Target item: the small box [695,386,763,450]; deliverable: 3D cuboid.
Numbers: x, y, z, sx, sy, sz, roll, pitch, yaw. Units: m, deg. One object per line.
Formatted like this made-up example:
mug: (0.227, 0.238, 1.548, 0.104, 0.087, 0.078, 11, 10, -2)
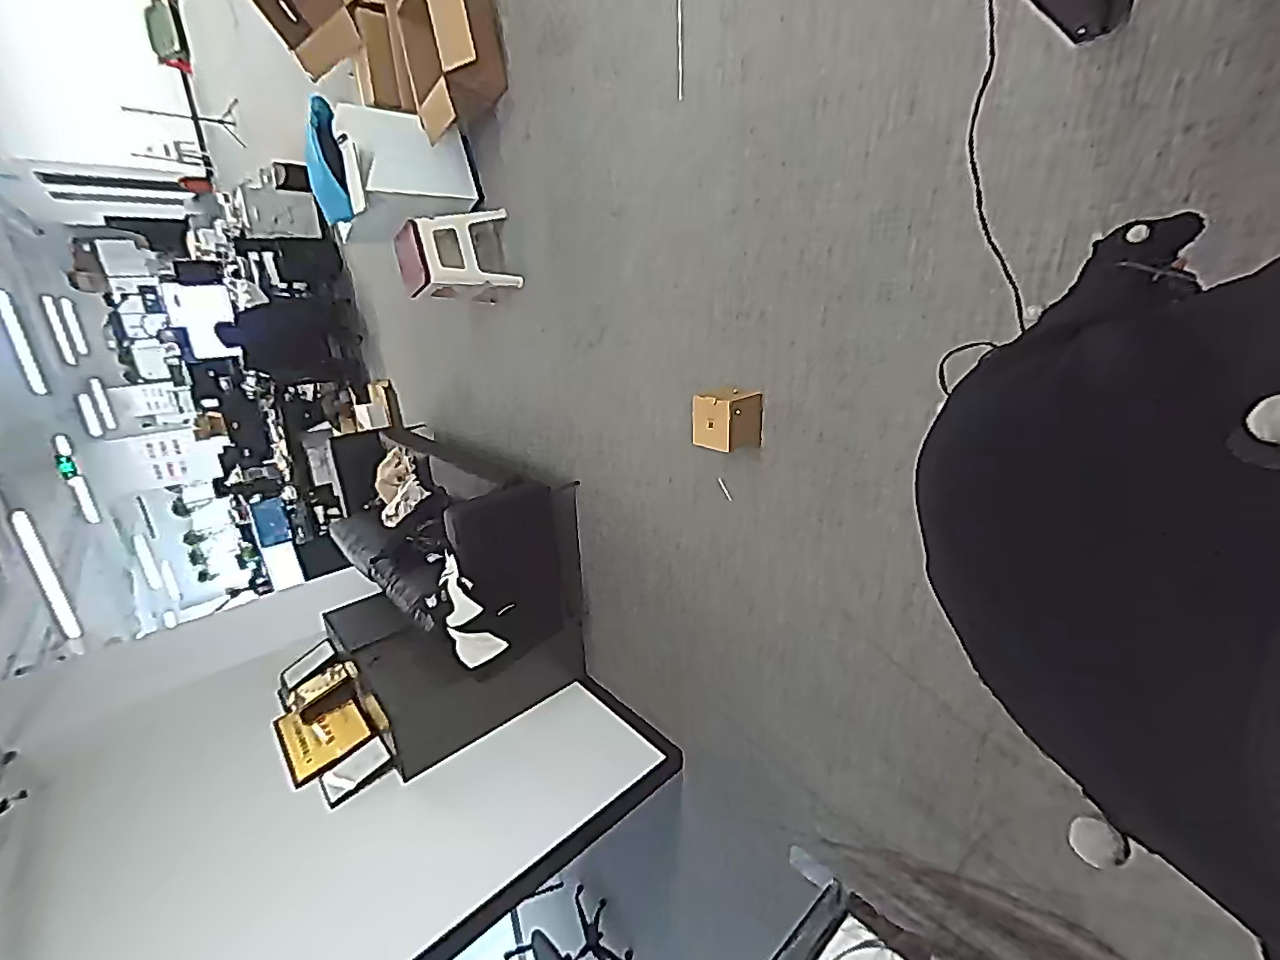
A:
small box: (0.305, -0.217, 1.855, 0.168, 0.176, 0.179, 20, 119, 45)
